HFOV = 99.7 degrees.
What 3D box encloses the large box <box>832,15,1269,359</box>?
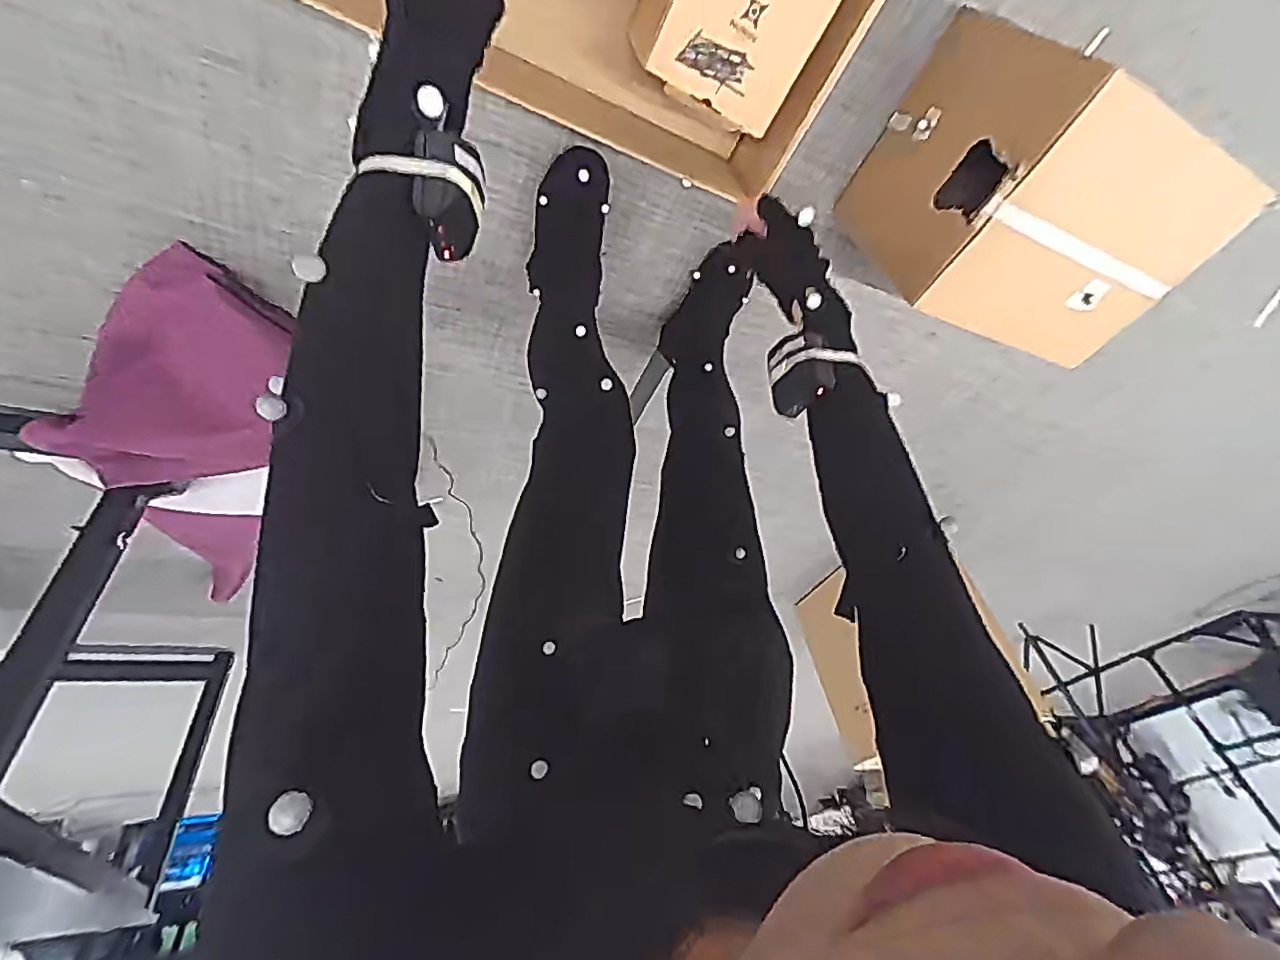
[{"bbox_3d":[0.601,-0.443,0.858,0.408,0.320,0.320,8,137,-24],"label":"large box"}]
